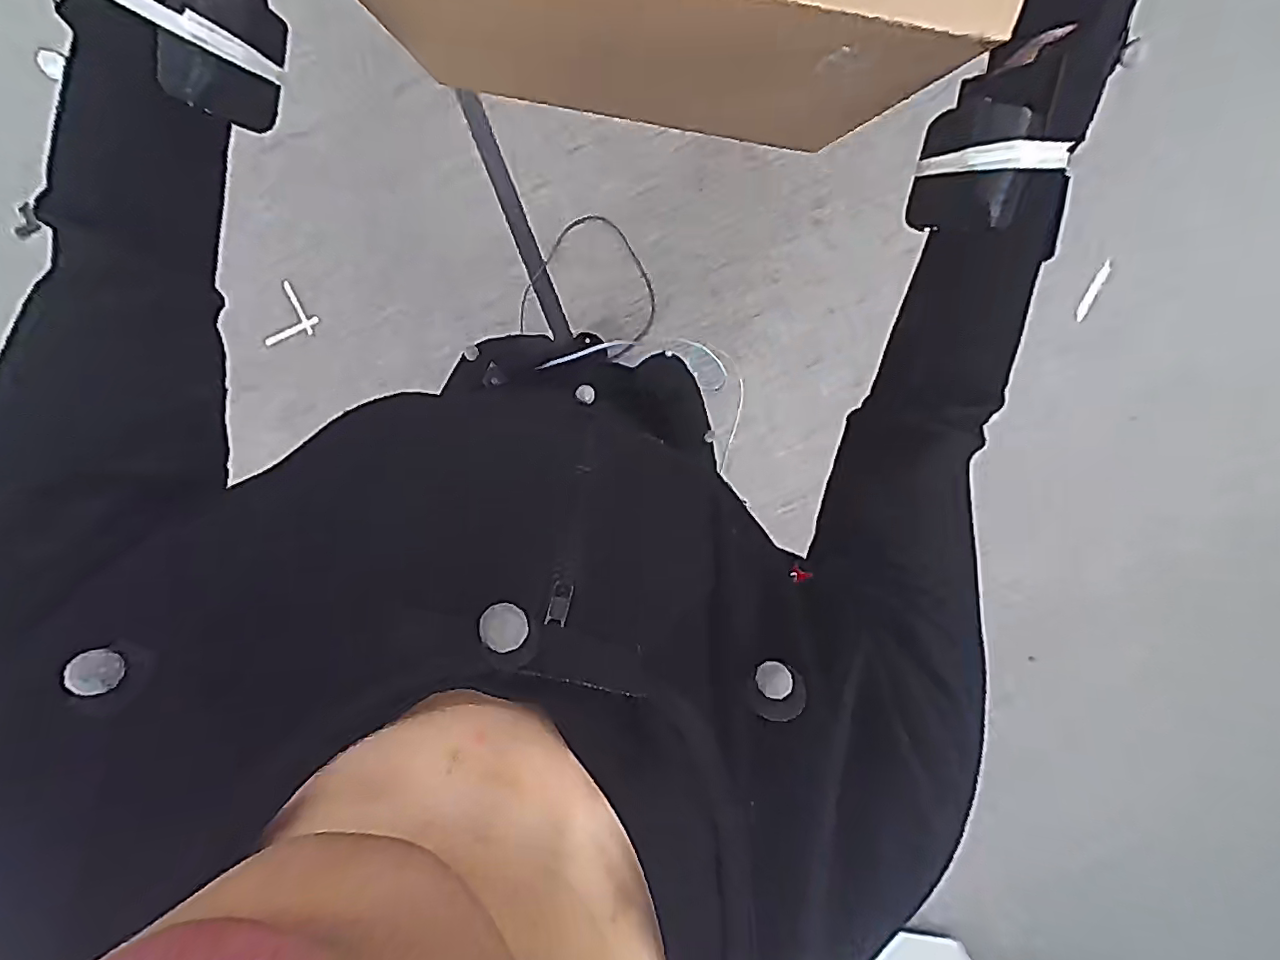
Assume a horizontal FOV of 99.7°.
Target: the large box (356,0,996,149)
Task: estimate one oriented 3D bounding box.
[{"bbox_3d":[0.014,-0.466,0.385,0.408,0.320,0.320,6,111,-5],"label":"large box"}]
